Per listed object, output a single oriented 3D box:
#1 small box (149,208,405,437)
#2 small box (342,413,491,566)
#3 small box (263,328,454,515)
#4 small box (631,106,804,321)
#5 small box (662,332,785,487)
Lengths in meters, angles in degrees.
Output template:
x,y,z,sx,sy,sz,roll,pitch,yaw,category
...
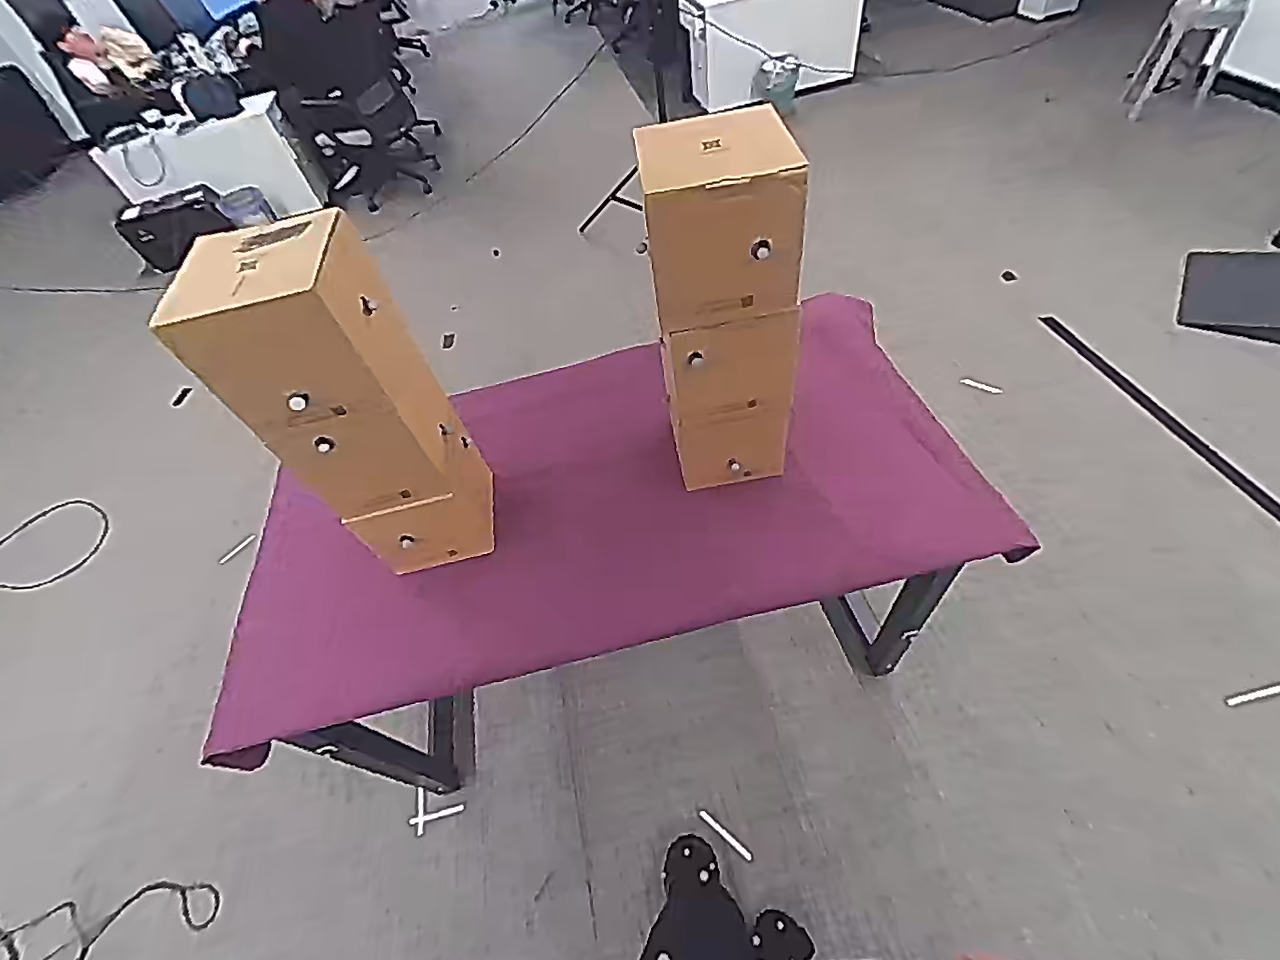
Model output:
x,y,z,sx,sy,sz,roll,pitch,yaw,category
-0.392,-0.179,0.627,0.168,0.176,0.179,-14,52,-1,small box
-0.350,0.024,0.883,0.168,0.176,0.179,-14,51,-1,small box
-0.374,-0.080,0.758,0.168,0.176,0.179,-14,51,-1,small box
0.086,-0.306,0.641,0.168,0.176,0.179,-8,51,2,small box
0.134,-0.114,0.902,0.168,0.176,0.179,-11,52,3,small box
